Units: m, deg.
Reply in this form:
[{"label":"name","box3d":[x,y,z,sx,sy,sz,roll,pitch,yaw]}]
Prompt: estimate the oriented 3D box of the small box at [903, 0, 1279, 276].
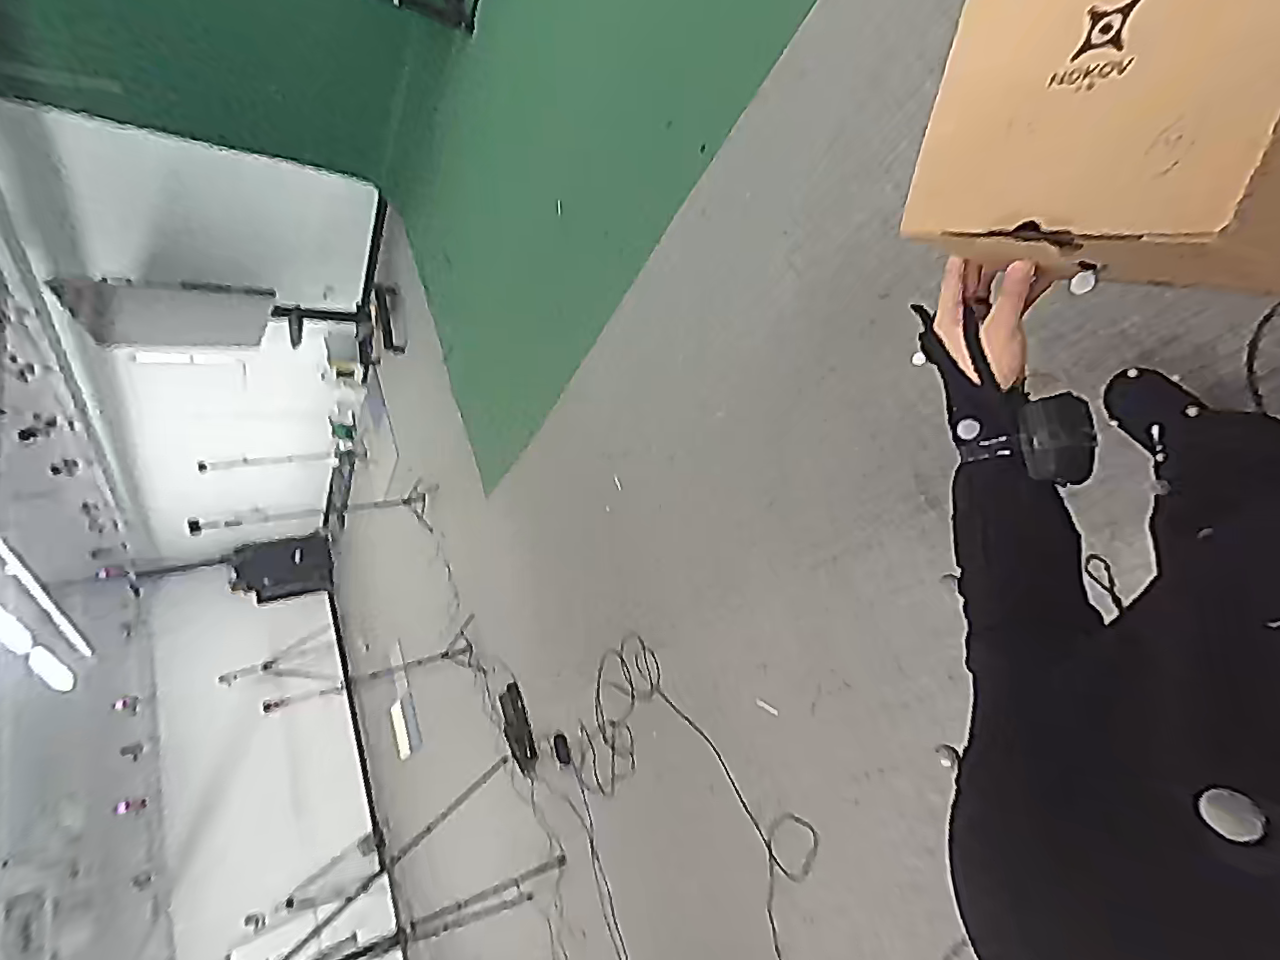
[{"label":"small box","box3d":[0.302,-0.226,0.323,0.168,0.176,0.179,36,123,51]}]
